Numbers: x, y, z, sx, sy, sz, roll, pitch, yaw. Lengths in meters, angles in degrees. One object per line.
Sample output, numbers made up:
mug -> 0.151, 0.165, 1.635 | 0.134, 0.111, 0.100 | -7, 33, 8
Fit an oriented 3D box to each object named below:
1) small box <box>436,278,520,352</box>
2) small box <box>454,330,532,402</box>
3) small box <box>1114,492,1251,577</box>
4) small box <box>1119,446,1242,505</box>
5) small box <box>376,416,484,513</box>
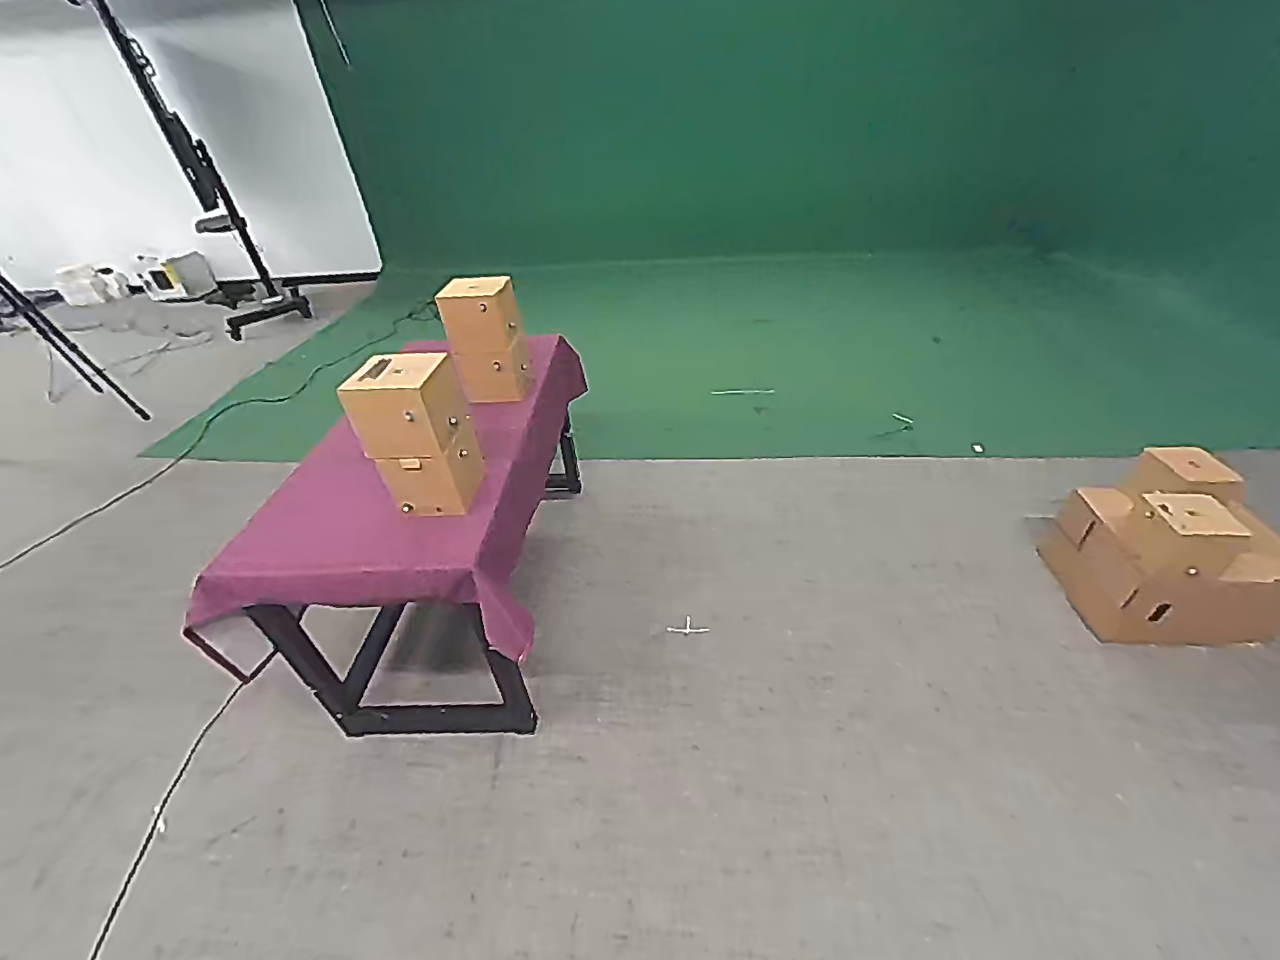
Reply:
small box -> -0.471, -0.487, 1.602 | 0.179, 0.176, 0.168 | 0, 38, 5
small box -> -0.452, -0.355, 1.697 | 0.179, 0.176, 0.168 | -1, 38, 6
small box -> 1.479, 0.151, 1.491 | 0.179, 0.176, 0.168 | 2, 39, 6
small box -> 1.644, 0.013, 1.659 | 0.168, 0.176, 0.179 | 0, 37, 3
small box -> -0.486, -0.033, 1.285 | 0.168, 0.176, 0.179 | -2, 37, 5
